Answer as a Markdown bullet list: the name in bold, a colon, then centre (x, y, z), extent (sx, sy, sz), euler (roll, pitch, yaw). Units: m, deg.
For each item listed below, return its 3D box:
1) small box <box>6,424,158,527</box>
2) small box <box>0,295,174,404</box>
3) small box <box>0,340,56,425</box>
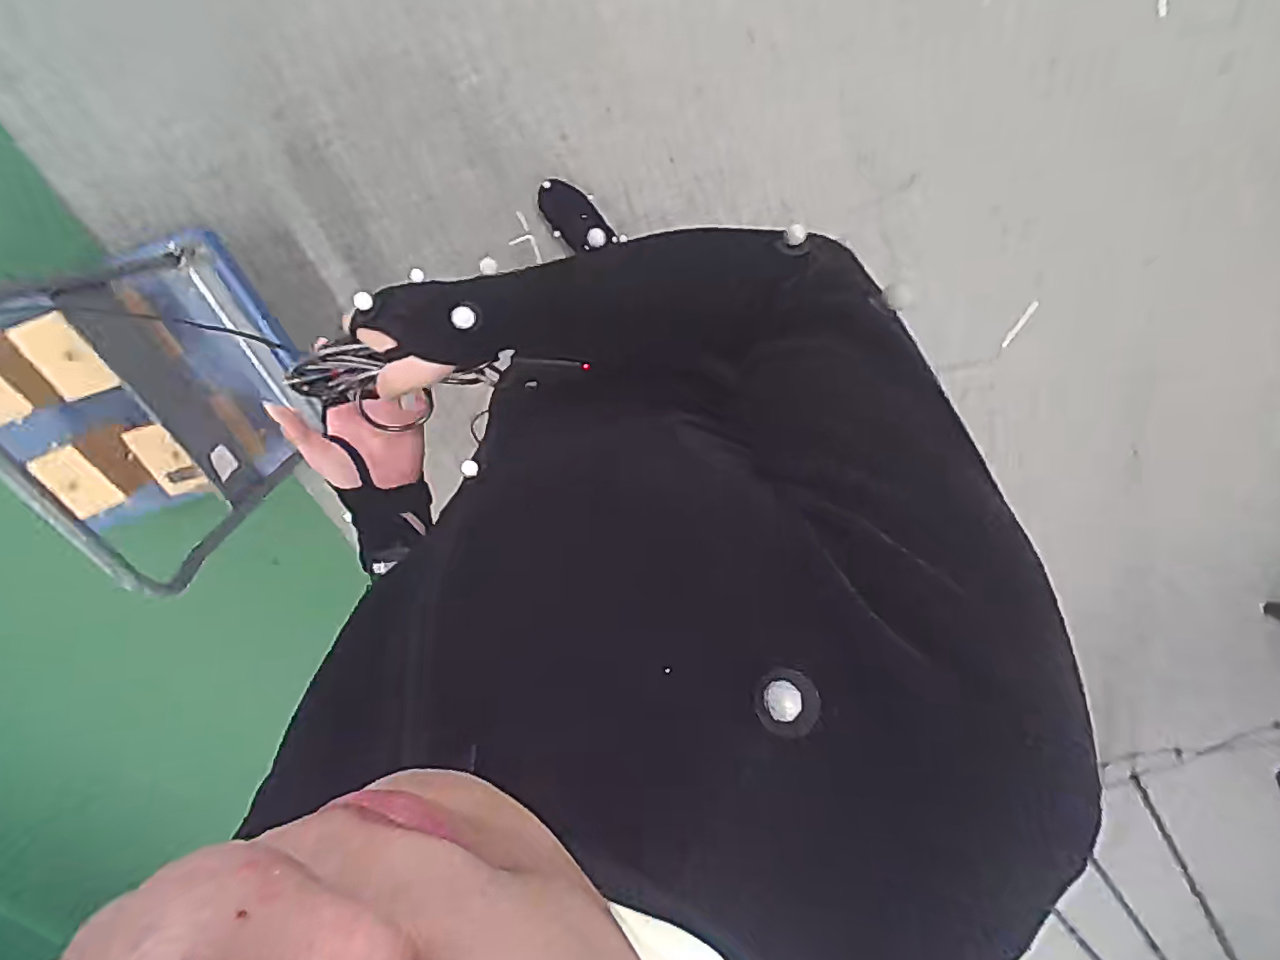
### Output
- **small box**: centre (-1.374, -0.017, 1.354), extent (0.179, 0.176, 0.168), euler (-21, 119, 8)
- **small box**: centre (-1.214, -0.294, 1.204), extent (0.179, 0.176, 0.168), euler (-17, 120, 5)
- **small box**: centre (-1.461, -0.222, 1.225), extent (0.179, 0.176, 0.168), euler (-20, 121, 6)
